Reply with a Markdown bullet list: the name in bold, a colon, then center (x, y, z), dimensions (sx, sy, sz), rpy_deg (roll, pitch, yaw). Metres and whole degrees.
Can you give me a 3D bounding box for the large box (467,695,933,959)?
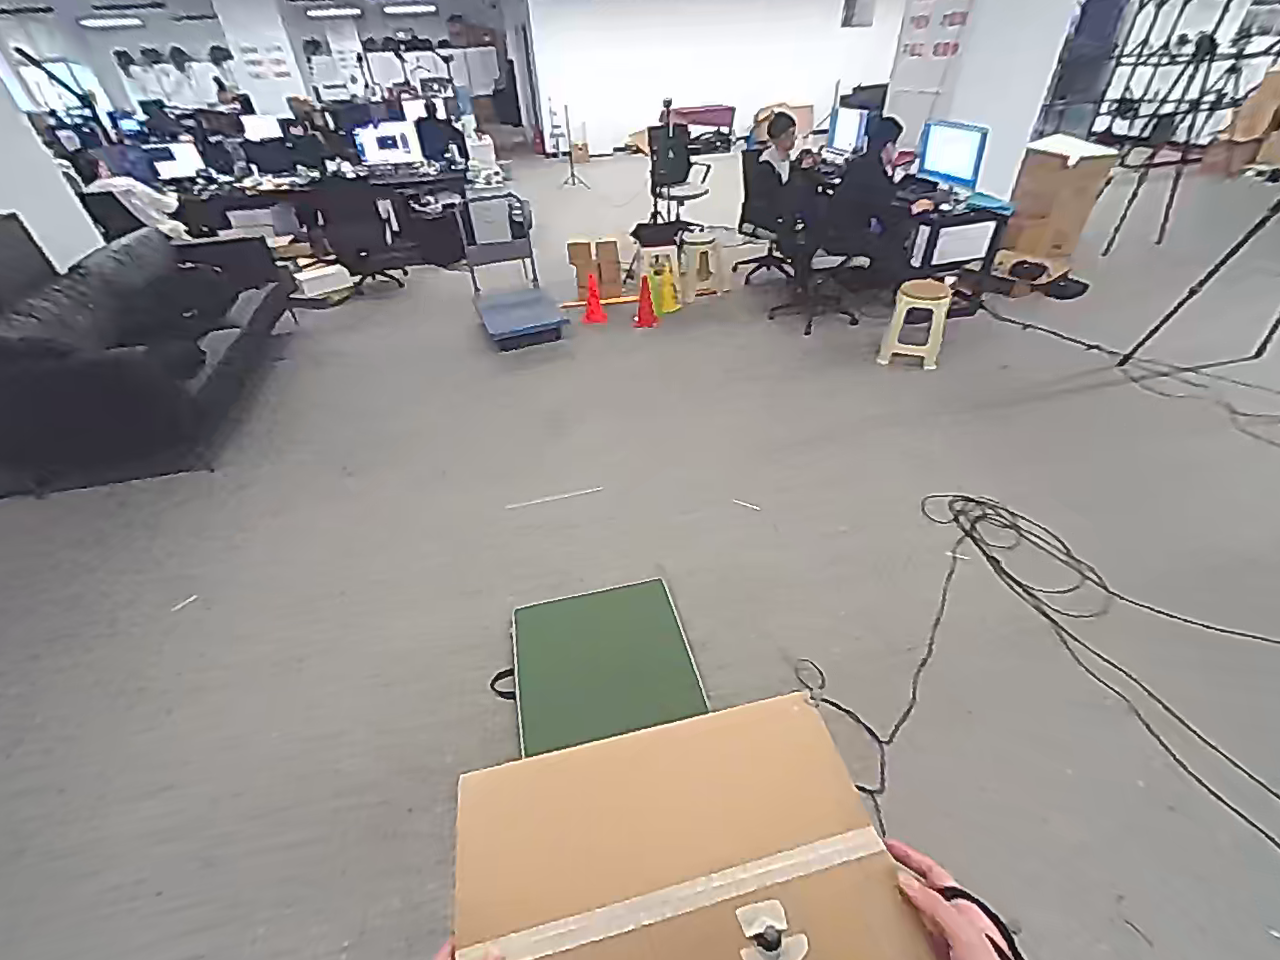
- **large box**: center (0.043, 0.504, 0.610), dimensions (0.408, 0.320, 0.320), rpy_deg (-10, 43, -9)
